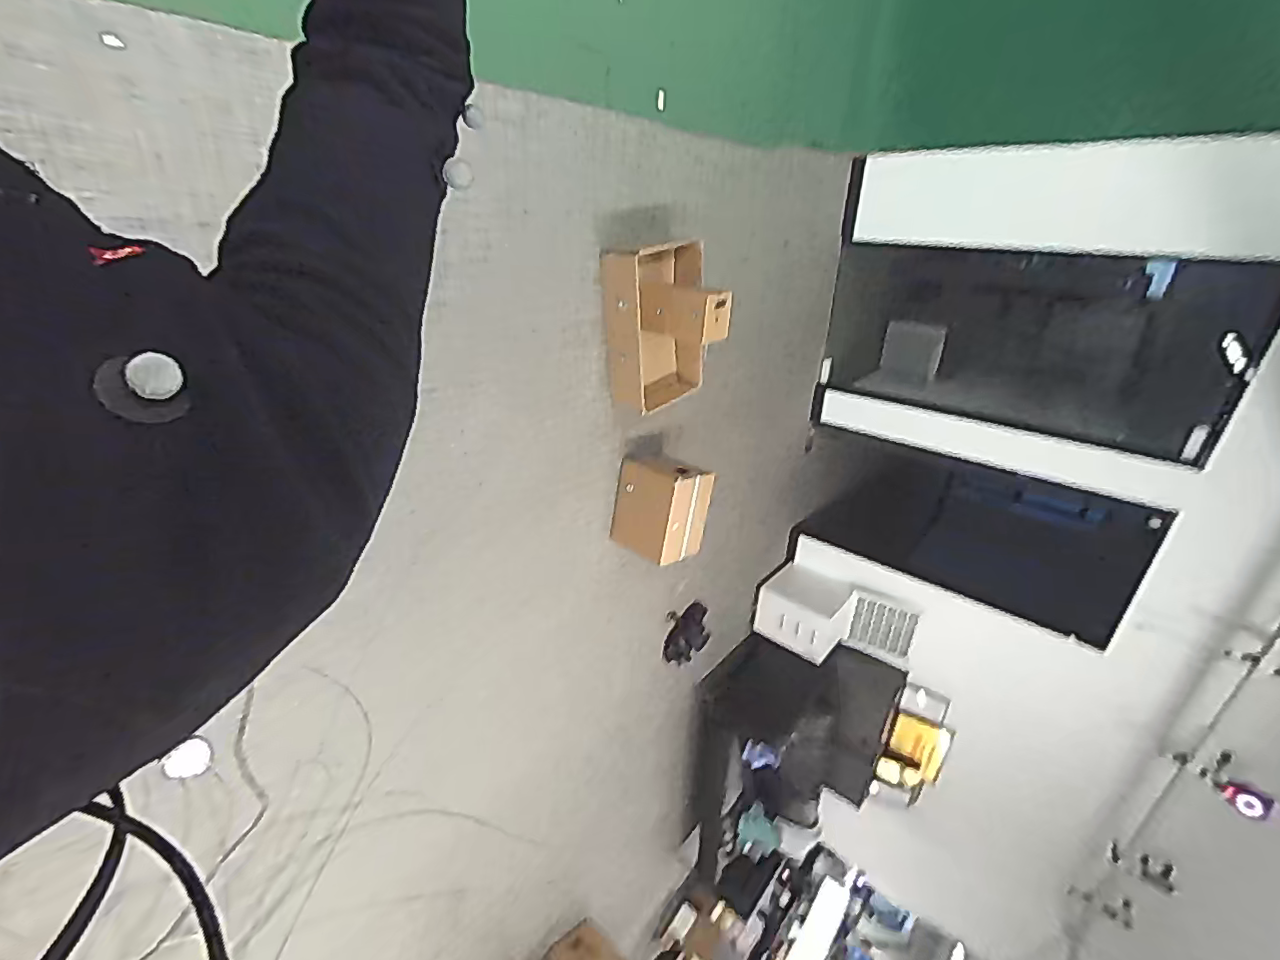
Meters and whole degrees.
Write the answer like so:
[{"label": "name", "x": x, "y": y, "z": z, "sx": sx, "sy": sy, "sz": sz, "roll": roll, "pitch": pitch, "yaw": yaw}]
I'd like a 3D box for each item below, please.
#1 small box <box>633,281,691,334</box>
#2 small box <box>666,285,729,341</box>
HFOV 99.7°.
[{"label": "small box", "x": 0.087, "y": -0.684, "z": 2.125, "sx": 0.168, "sy": 0.176, "sz": 0.179, "roll": -25, "pitch": 129, "yaw": -43}, {"label": "small box", "x": 0.212, "y": -0.633, "z": 2.031, "sx": 0.168, "sy": 0.176, "sz": 0.179, "roll": -26, "pitch": 130, "yaw": -43}]
